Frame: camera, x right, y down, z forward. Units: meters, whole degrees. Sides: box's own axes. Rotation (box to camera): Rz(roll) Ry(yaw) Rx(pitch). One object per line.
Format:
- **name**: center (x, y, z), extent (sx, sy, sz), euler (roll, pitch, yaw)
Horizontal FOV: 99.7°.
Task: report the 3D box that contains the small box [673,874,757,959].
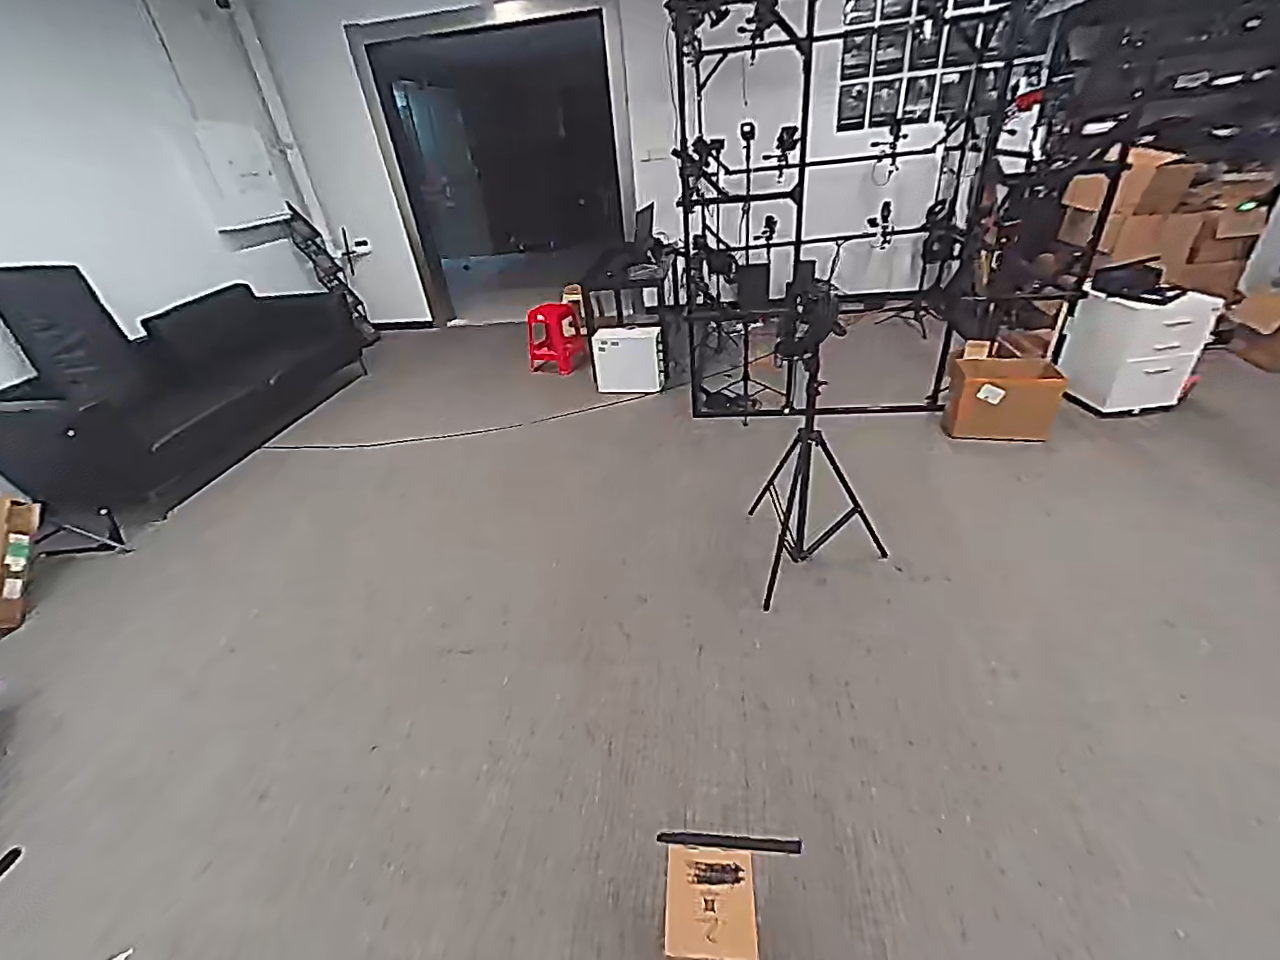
- **small box**: center (0.156, 0.975, 1.150), extent (0.168, 0.176, 0.179), euler (-4, 32, 5)
